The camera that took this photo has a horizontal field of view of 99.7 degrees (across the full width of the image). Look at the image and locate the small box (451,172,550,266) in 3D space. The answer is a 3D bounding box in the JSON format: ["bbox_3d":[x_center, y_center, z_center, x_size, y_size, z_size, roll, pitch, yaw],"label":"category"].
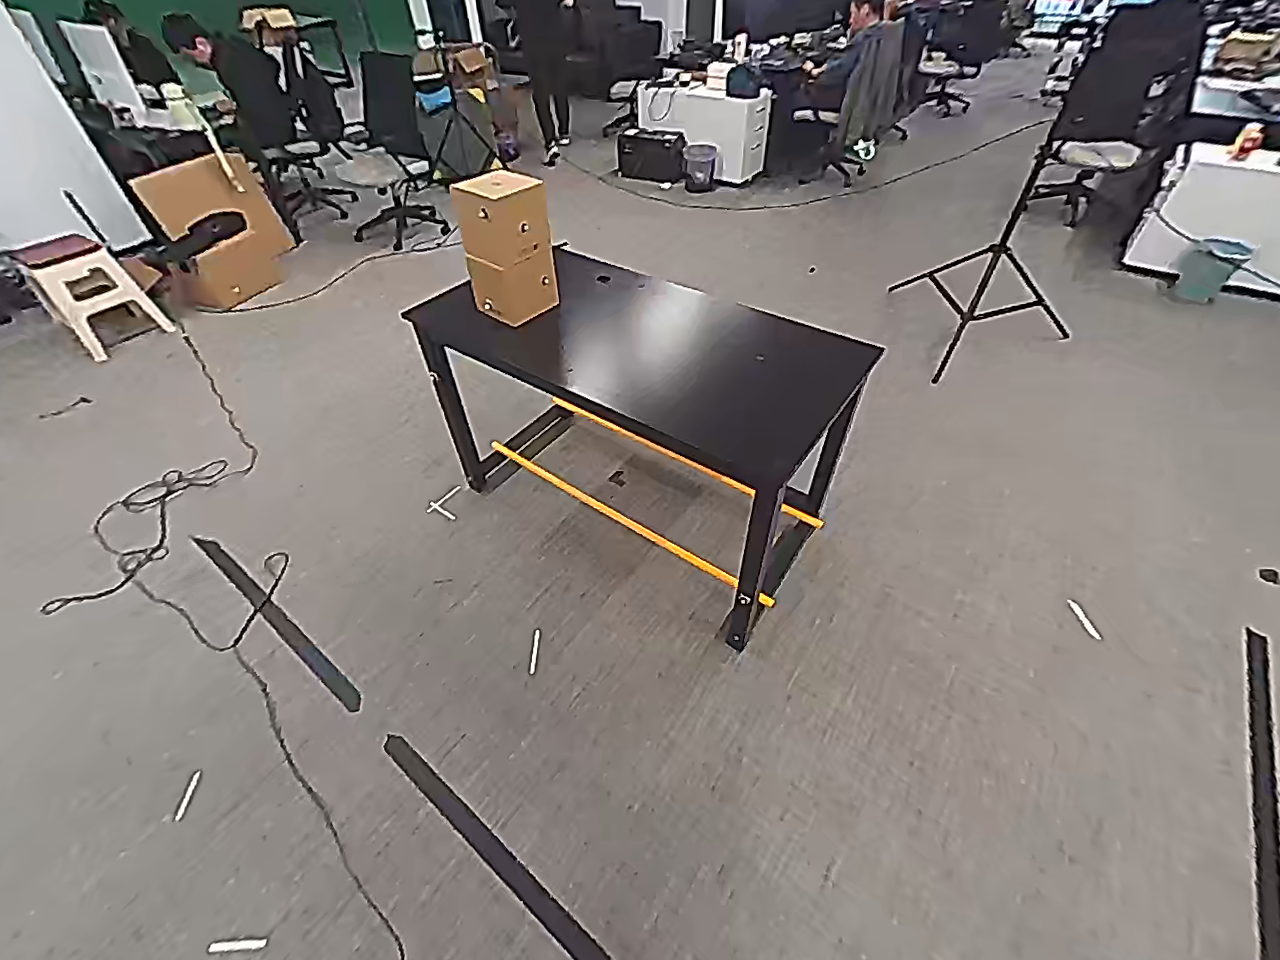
[{"bbox_3d":[-0.355,-0.679,1.413,0.179,0.176,0.168,29,52,28],"label":"small box"}]

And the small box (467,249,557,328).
[{"bbox_3d":[-0.351,-0.557,1.524,0.168,0.176,0.179,29,54,28],"label":"small box"}]
